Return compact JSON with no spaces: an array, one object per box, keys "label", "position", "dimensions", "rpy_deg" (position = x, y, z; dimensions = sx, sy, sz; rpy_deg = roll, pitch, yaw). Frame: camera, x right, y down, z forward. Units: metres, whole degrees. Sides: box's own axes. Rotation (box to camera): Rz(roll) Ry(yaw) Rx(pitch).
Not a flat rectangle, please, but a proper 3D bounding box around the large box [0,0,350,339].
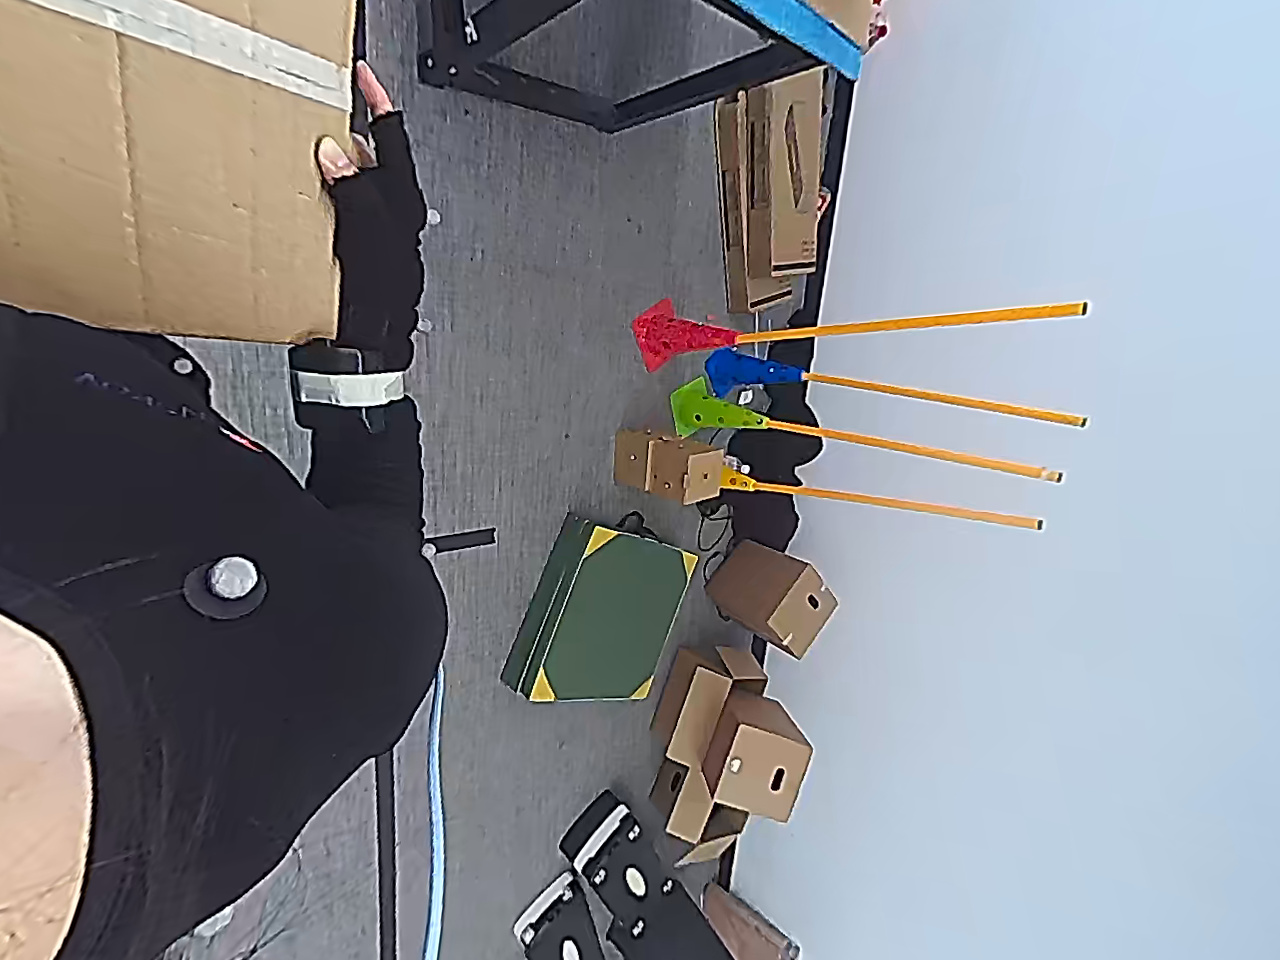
[{"label":"large box","position":[-0.421,-0.291,0.292],"dimensions":[0.408,0.320,0.320],"rpy_deg":[-6,126,-42]}]
